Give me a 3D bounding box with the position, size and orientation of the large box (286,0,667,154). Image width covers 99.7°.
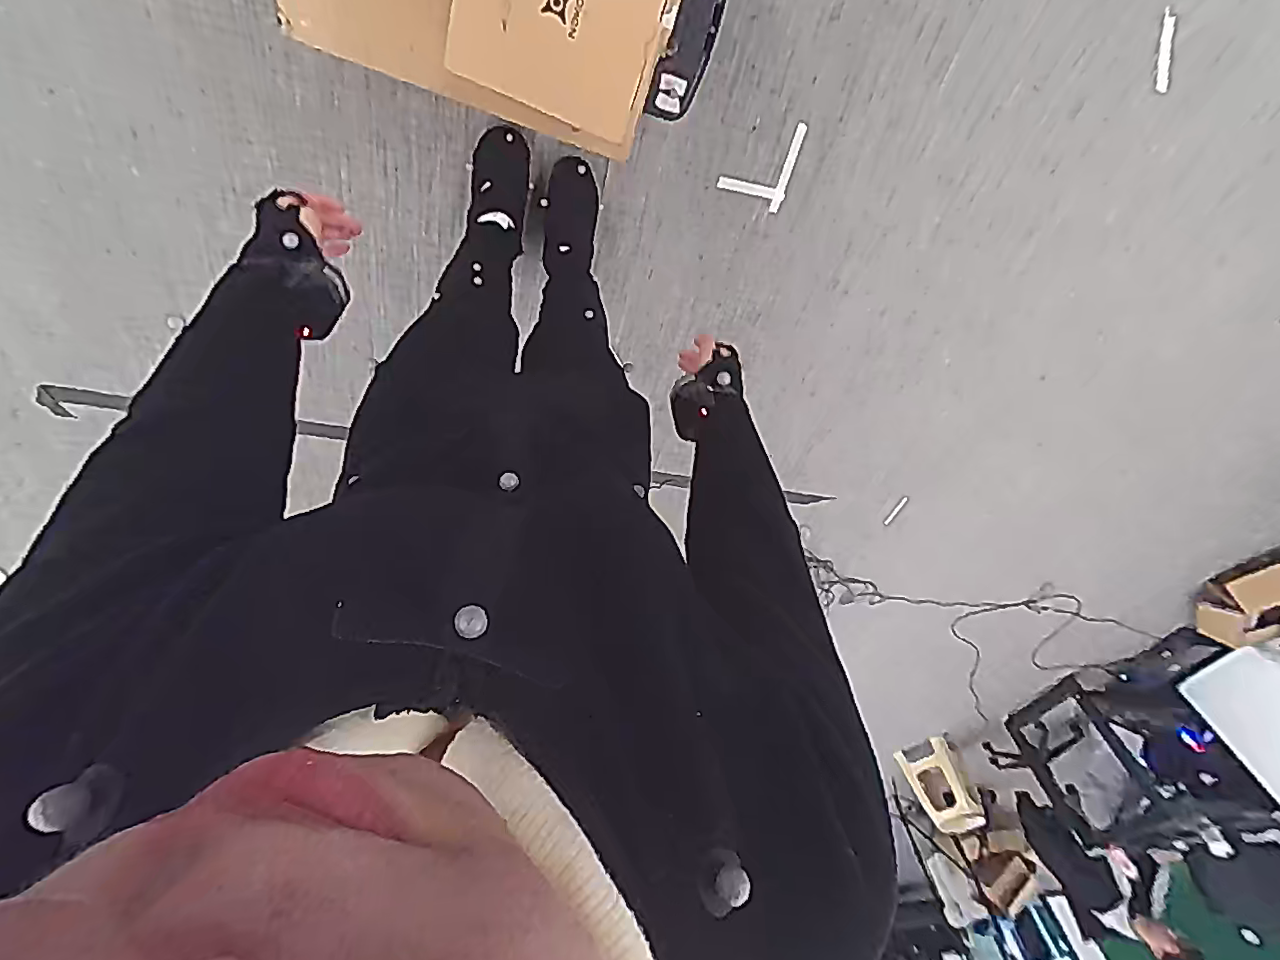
[{"bbox_3d":[-0.162,-0.662,0.663,0.408,0.320,0.320,11,128,-16],"label":"large box"}]

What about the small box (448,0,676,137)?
[{"bbox_3d":[-0.068,-0.469,0.518,0.179,0.176,0.168,14,129,-19],"label":"small box"}]
